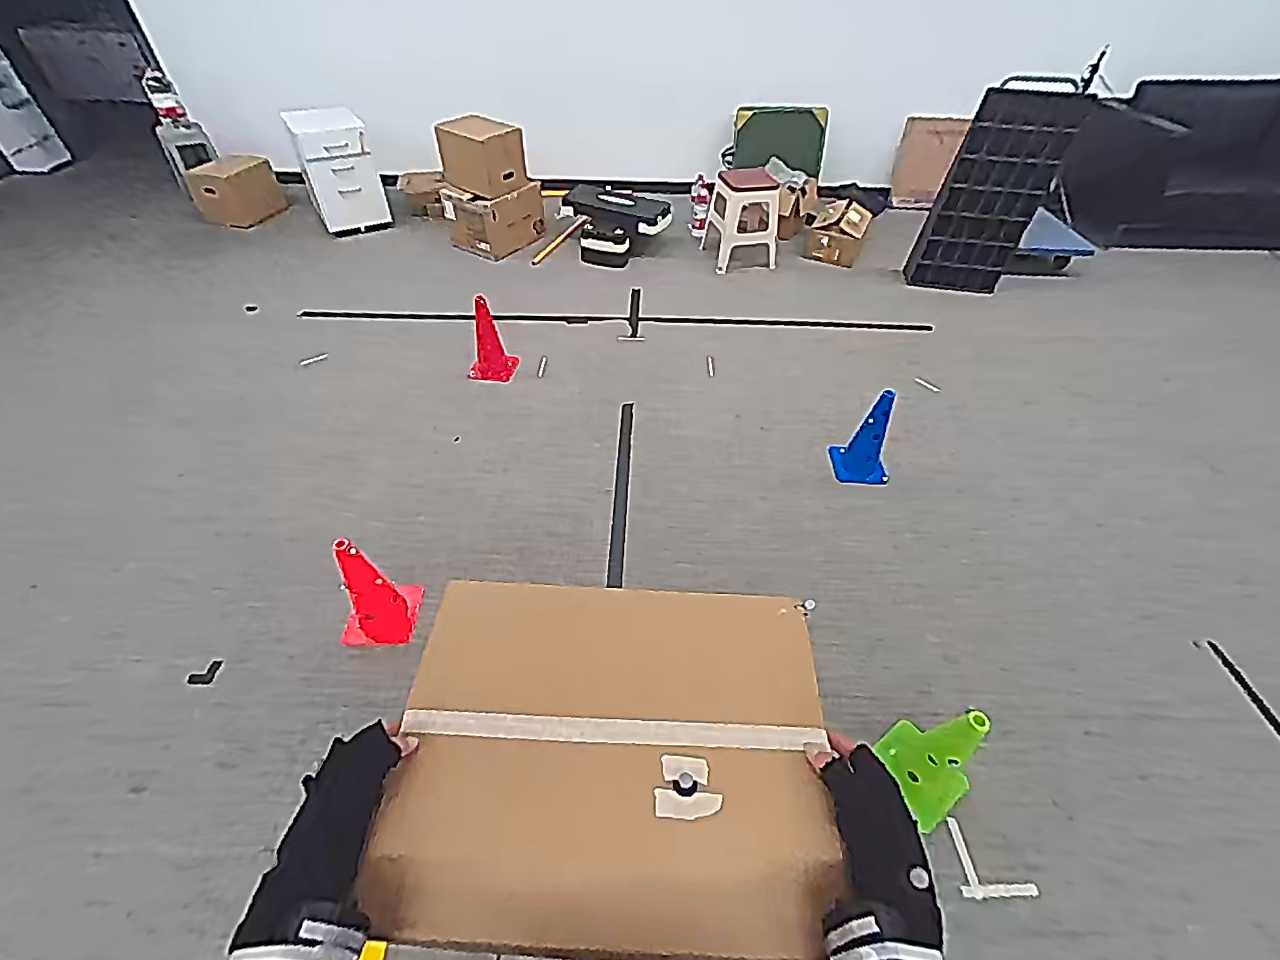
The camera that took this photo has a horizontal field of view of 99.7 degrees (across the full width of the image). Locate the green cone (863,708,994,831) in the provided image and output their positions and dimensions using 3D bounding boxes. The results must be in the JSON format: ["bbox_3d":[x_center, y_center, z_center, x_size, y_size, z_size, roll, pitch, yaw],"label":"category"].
[{"bbox_3d":[0.703,0.621,1.244,0.202,0.368,0.200,-26,53,-26],"label":"green cone"}]

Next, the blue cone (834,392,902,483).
[{"bbox_3d":[0.883,-0.172,2.031,0.192,0.380,0.193,5,47,1],"label":"blue cone"}]

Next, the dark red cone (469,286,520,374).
[{"bbox_3d":[-0.668,-0.669,2.402,0.201,0.394,0.202,7,47,3],"label":"dark red cone"}]

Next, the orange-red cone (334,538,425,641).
[{"bbox_3d":[-0.771,0.283,1.522,0.198,0.360,0.199,0,48,-1],"label":"orange-red cone"}]

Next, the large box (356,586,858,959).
[{"bbox_3d":[-0.027,0.345,0.629,0.408,0.320,0.320,4,47,0],"label":"large box"}]
